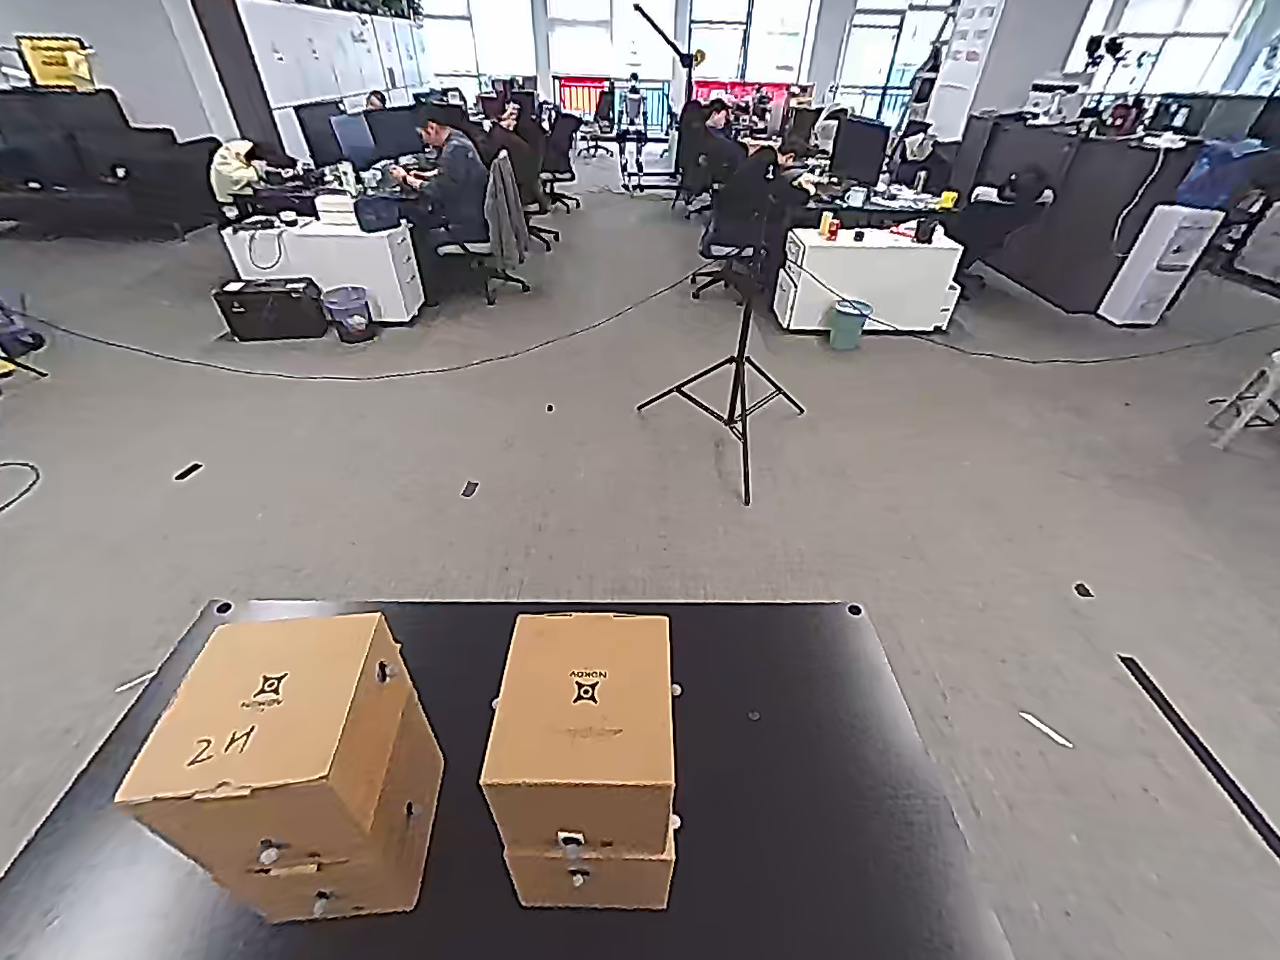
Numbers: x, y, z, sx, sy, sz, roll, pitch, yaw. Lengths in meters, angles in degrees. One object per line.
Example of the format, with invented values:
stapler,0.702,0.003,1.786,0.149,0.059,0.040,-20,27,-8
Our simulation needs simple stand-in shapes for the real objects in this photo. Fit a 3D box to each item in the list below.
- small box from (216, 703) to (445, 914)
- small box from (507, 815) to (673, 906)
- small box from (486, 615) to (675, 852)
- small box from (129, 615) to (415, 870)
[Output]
small box,-0.350,0.400,0.659,0.168,0.176,0.179,-3,38,-4
small box,-0.051,0.399,0.666,0.179,0.176,0.168,2,38,0
small box,-0.051,0.265,0.574,0.168,0.176,0.179,-1,39,0
small box,-0.347,0.267,0.561,0.168,0.176,0.179,-4,38,-5
